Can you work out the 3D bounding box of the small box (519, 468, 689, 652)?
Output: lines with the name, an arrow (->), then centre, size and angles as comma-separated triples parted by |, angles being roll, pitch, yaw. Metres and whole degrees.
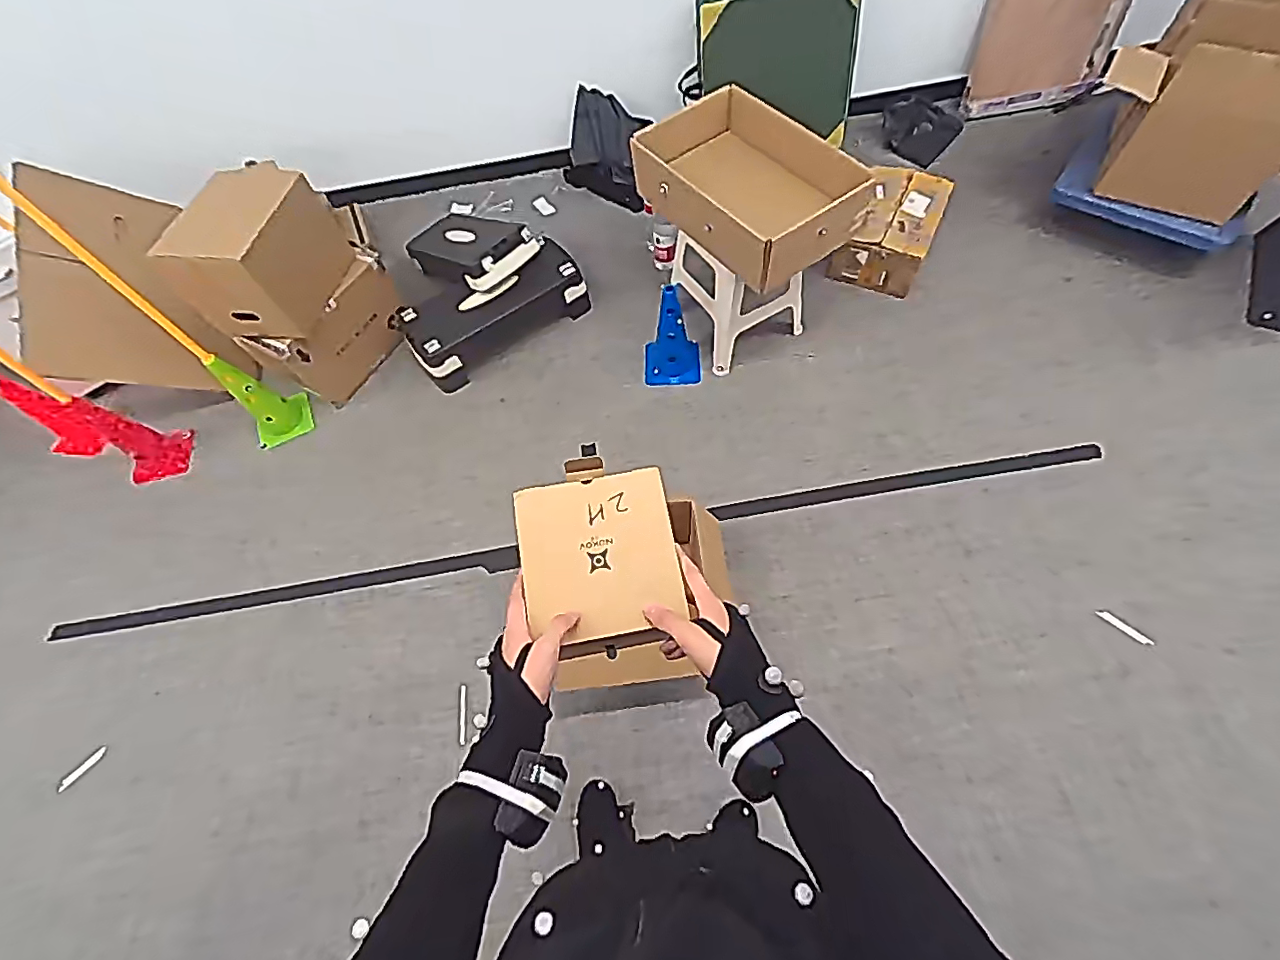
small box -> -0.042, 0.106, 0.655 | 0.168, 0.176, 0.179 | -10, 69, -5
